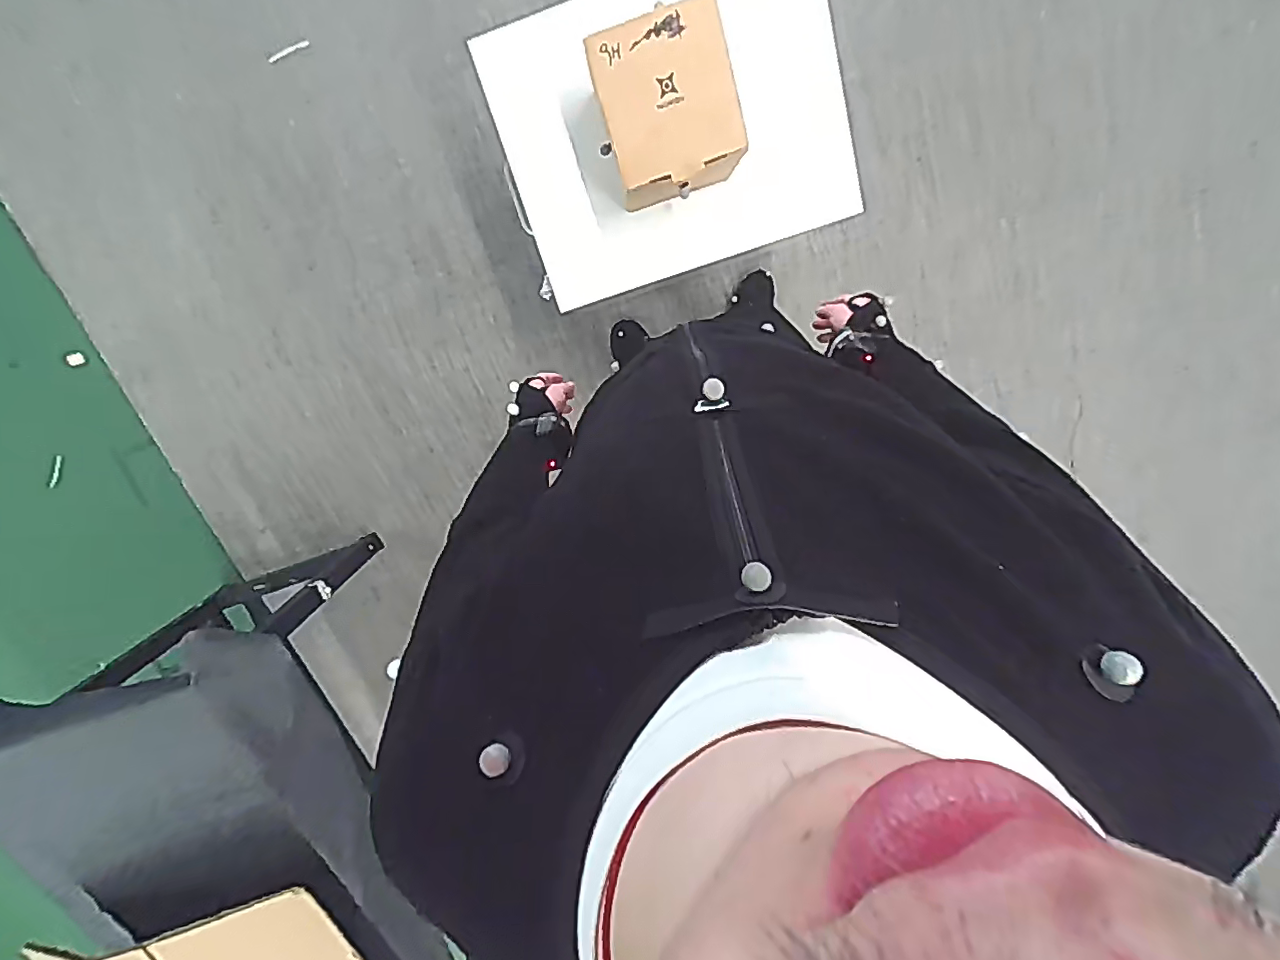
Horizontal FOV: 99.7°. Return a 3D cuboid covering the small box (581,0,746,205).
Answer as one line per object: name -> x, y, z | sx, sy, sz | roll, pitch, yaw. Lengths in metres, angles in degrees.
small box -> 0.034, -0.498, 0.743 | 0.168, 0.176, 0.179 | -19, 106, 7
